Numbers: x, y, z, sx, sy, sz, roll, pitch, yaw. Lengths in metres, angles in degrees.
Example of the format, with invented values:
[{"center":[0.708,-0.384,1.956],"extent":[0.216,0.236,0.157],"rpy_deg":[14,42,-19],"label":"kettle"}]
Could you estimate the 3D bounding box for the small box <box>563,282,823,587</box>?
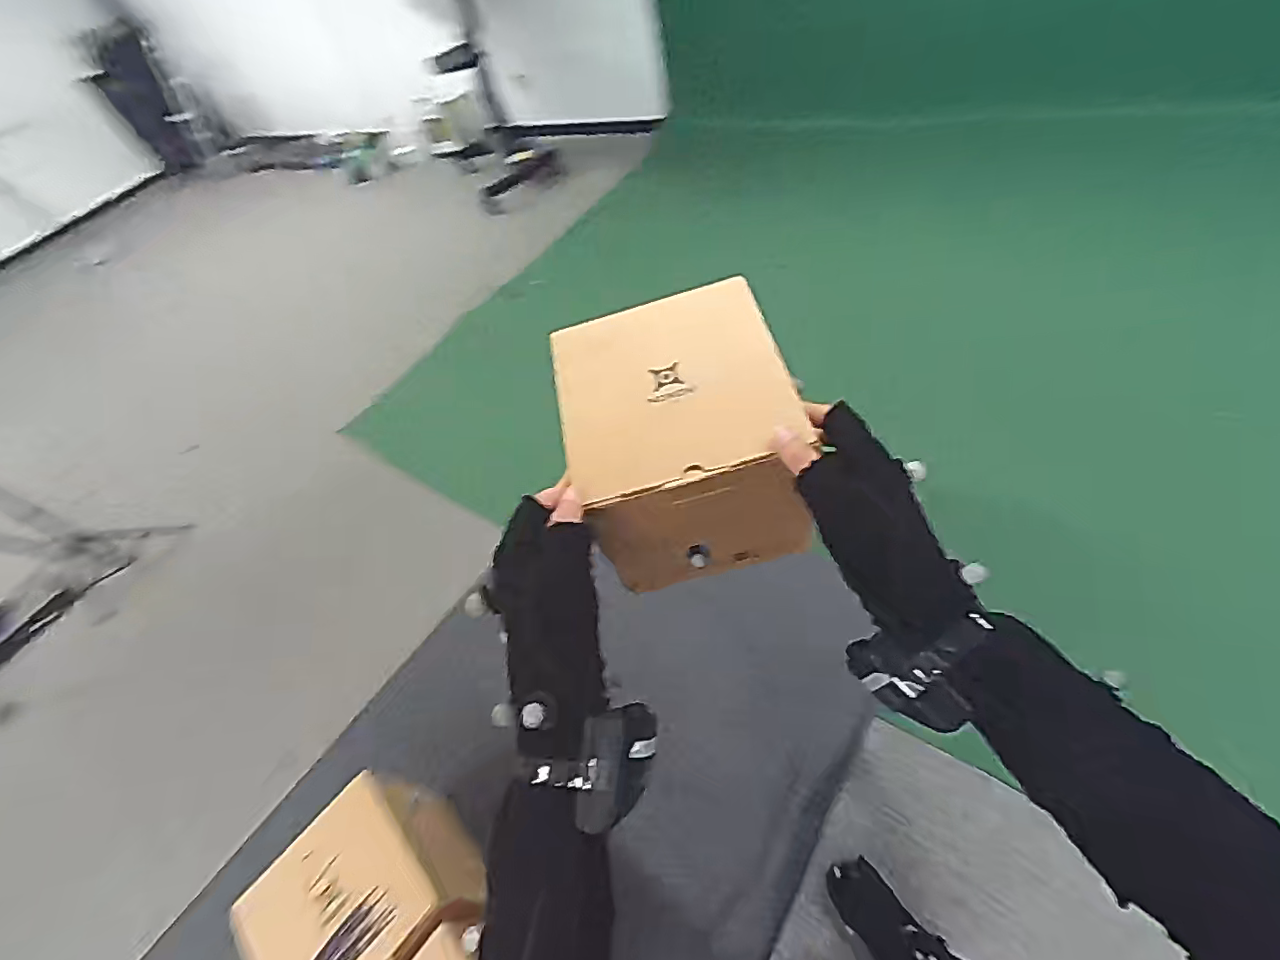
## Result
[{"center":[0.043,-0.031,0.465],"extent":[0.168,0.176,0.179],"rpy_deg":[-15,57,5],"label":"small box"}]
